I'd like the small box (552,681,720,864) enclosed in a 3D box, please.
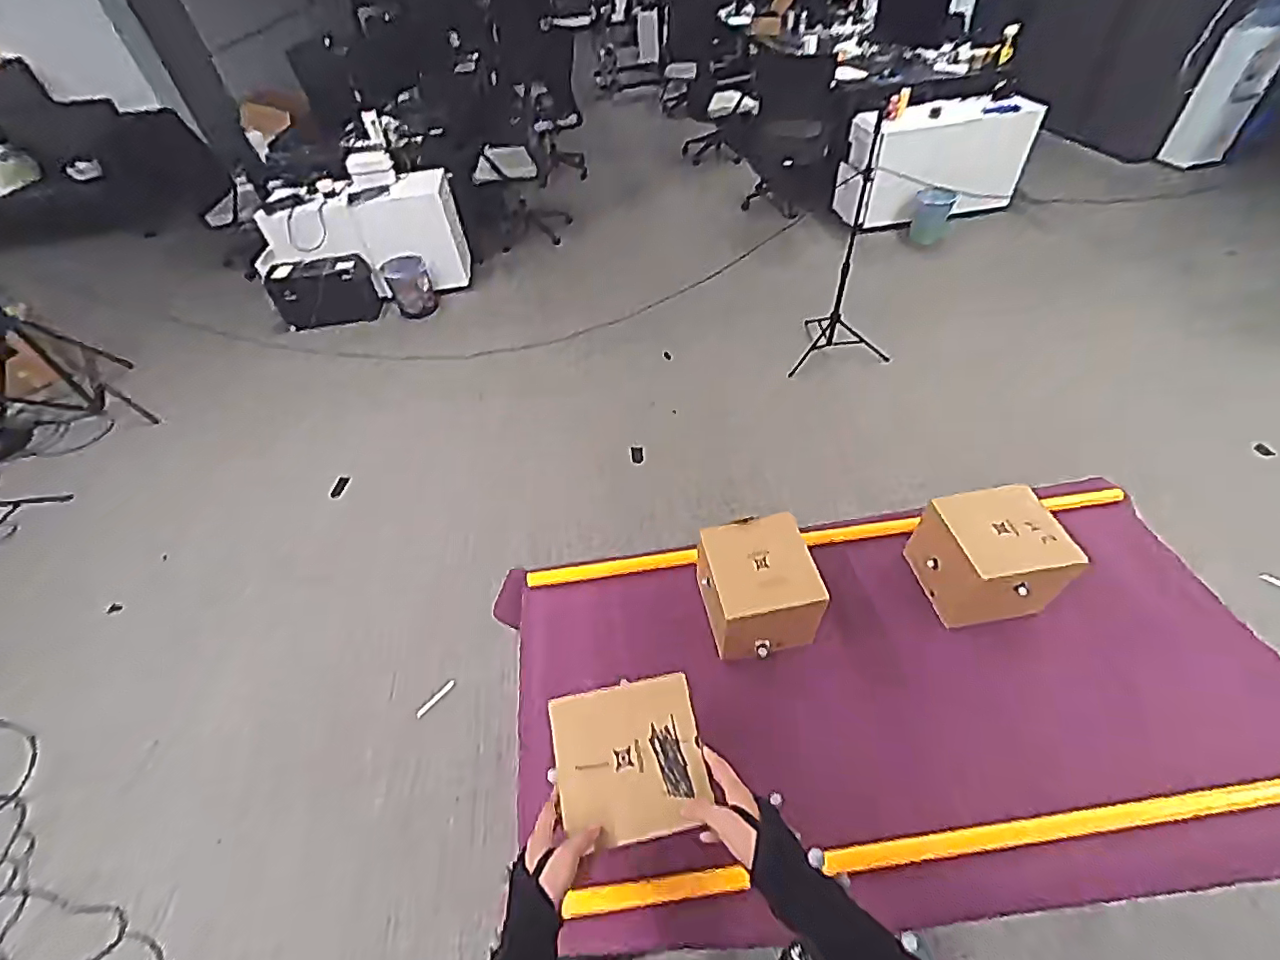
[{"bbox_3d":[-0.014,0.375,0.702,0.179,0.176,0.168,-9,59,-9],"label":"small box"}]

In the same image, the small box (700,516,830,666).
[{"bbox_3d":[0.201,0.192,0.930,0.168,0.176,0.179,-11,48,-3],"label":"small box"}]

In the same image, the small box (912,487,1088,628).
[{"bbox_3d":[0.599,0.138,0.936,0.179,0.176,0.168,-9,48,-2],"label":"small box"}]
